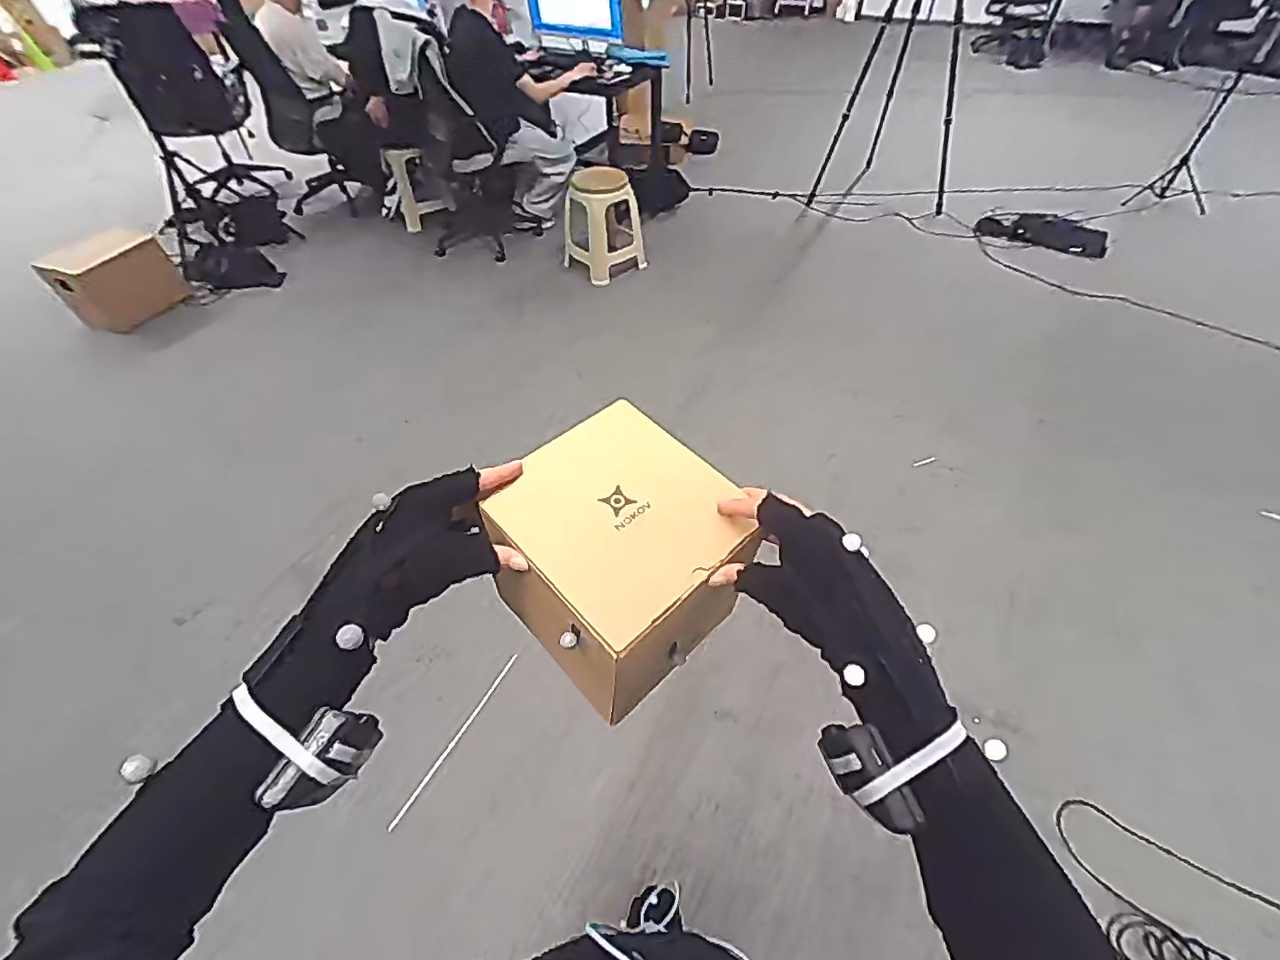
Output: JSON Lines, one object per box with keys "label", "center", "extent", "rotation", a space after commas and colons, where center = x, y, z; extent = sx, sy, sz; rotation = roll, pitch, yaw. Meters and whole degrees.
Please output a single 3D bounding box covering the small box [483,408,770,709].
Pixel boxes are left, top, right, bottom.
{"label": "small box", "center": [-0.019, 0.073, 0.493], "extent": [0.168, 0.176, 0.179], "rotation": [-34, 63, -28]}
